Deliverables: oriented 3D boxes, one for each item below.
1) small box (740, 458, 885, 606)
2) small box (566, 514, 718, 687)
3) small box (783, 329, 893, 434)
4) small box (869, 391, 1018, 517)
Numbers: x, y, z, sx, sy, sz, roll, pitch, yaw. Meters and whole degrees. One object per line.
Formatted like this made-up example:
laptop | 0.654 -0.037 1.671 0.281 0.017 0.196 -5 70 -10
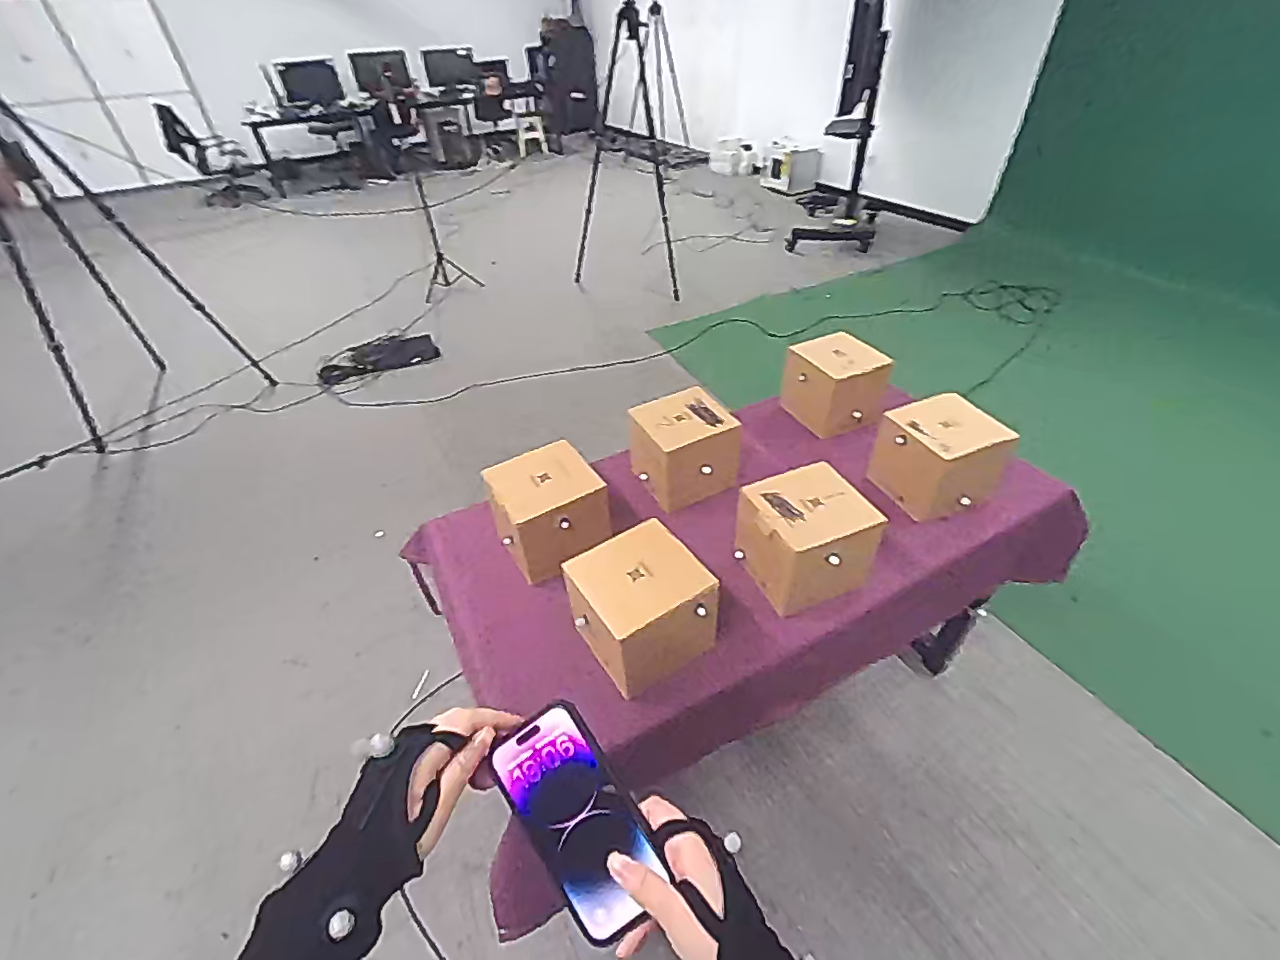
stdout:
small box | 0.288 0.093 0.949 0.179 0.176 0.168 -16 43 -15
small box | 0.005 0.191 0.858 0.179 0.176 0.168 -25 46 -24
small box | 0.467 -0.239 1.306 0.168 0.176 0.179 -19 45 -16
small box | 0.599 -0.052 1.091 0.179 0.176 0.168 -16 43 -14
